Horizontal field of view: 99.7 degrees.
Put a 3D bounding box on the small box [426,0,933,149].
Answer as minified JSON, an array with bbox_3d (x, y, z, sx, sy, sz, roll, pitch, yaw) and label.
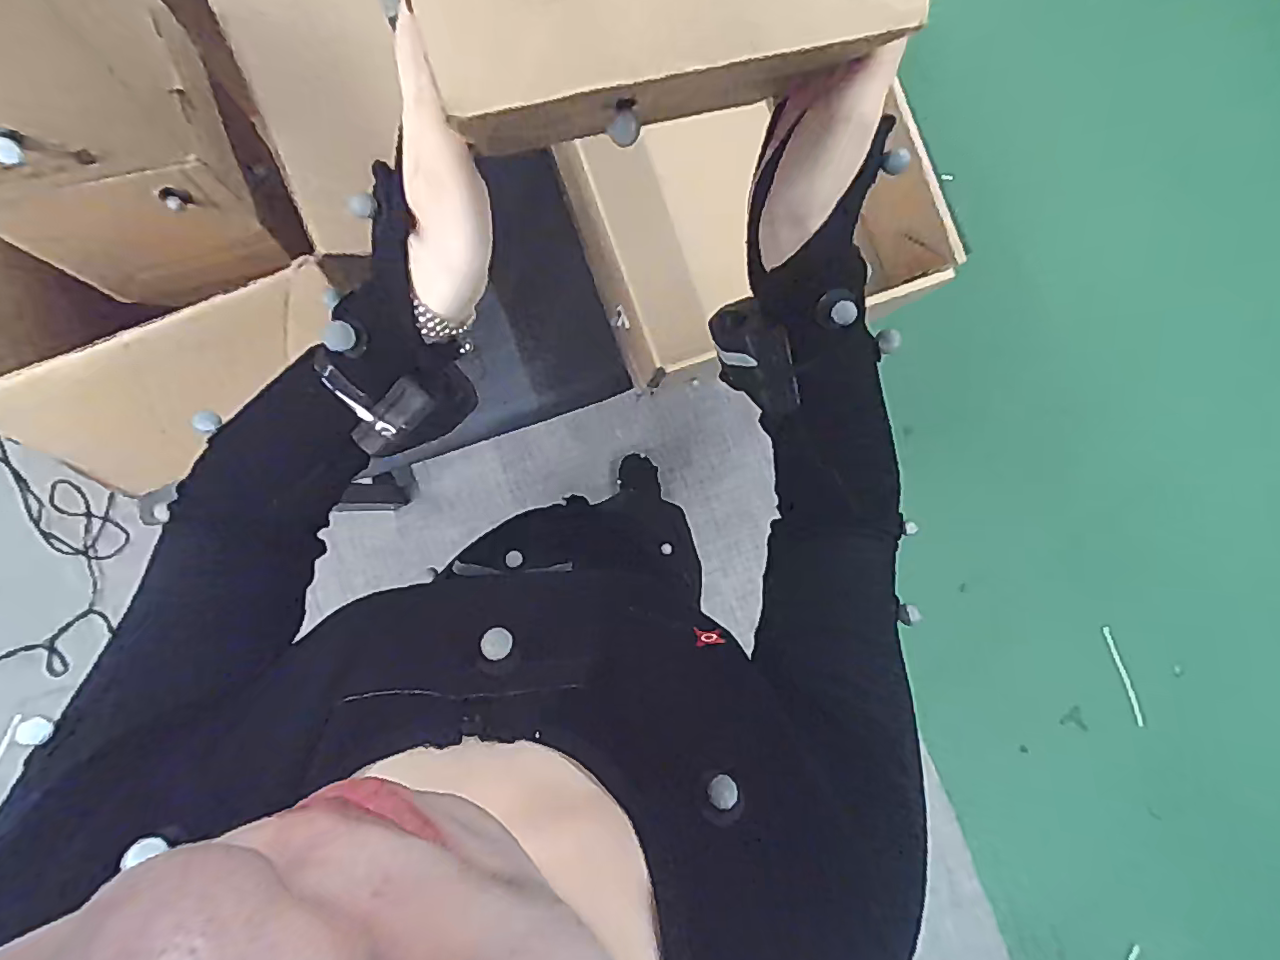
[{"bbox_3d":[-0.004,-0.252,0.226,0.179,0.176,0.168,-13,119,-3],"label":"small box"}]

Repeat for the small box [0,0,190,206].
[{"bbox_3d":[-0.437,-0.308,0.331,0.168,0.176,0.179,-22,89,-11],"label":"small box"}]
